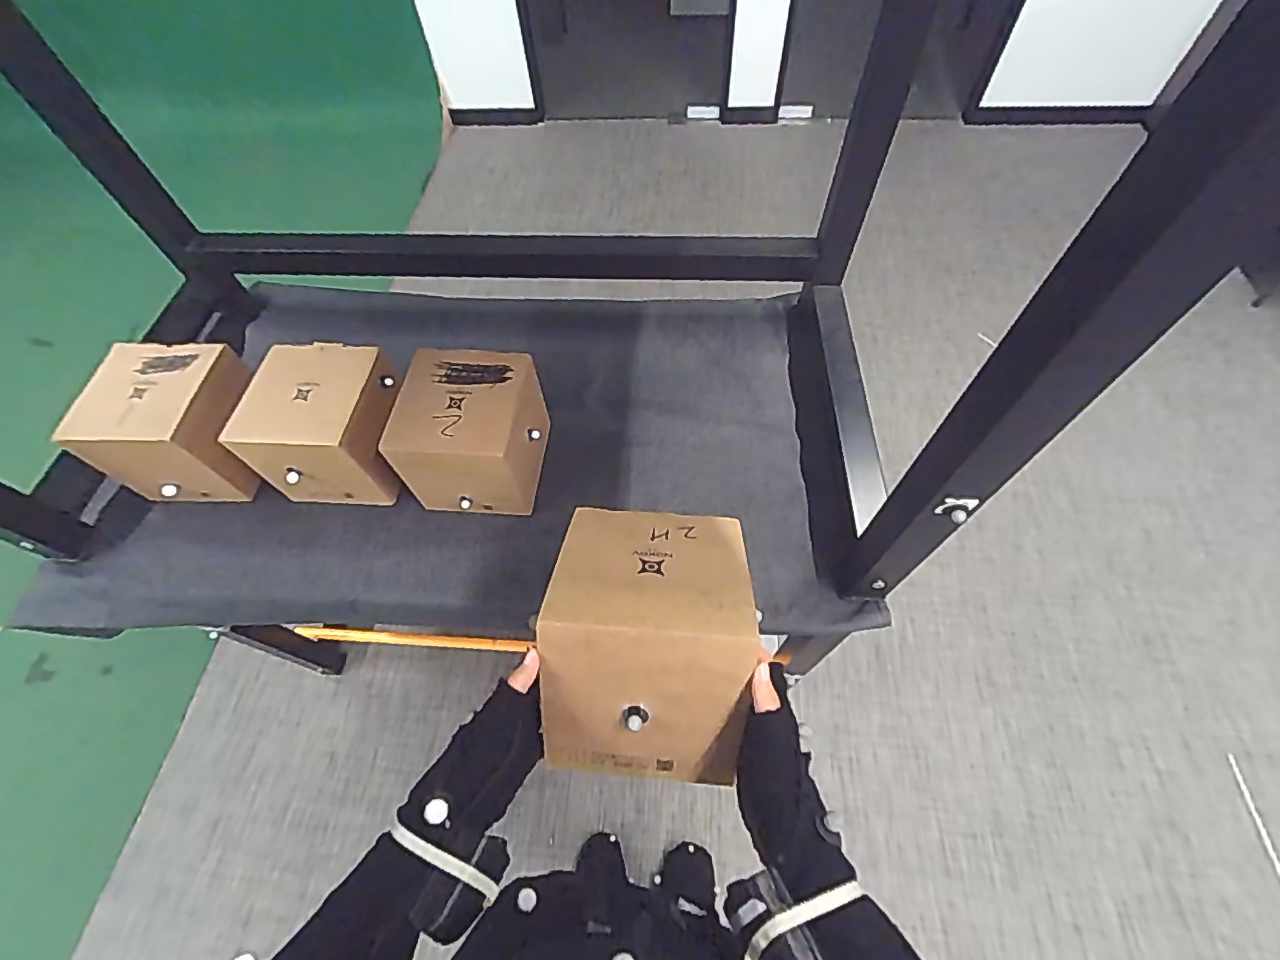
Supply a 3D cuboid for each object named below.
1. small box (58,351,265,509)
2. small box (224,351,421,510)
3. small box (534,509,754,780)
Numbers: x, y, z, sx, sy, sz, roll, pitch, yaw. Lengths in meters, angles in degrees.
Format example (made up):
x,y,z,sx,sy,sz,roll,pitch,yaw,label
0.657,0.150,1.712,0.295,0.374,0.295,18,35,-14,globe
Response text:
x,y,z,sx,sy,sz,roll,pitch,yaw,label
-0.679,-0.074,0.818,0.168,0.176,0.179,0,58,3,small box
-0.453,-0.069,0.808,0.168,0.176,0.179,3,58,3,small box
0.007,0.144,0.502,0.168,0.176,0.179,4,25,3,small box
